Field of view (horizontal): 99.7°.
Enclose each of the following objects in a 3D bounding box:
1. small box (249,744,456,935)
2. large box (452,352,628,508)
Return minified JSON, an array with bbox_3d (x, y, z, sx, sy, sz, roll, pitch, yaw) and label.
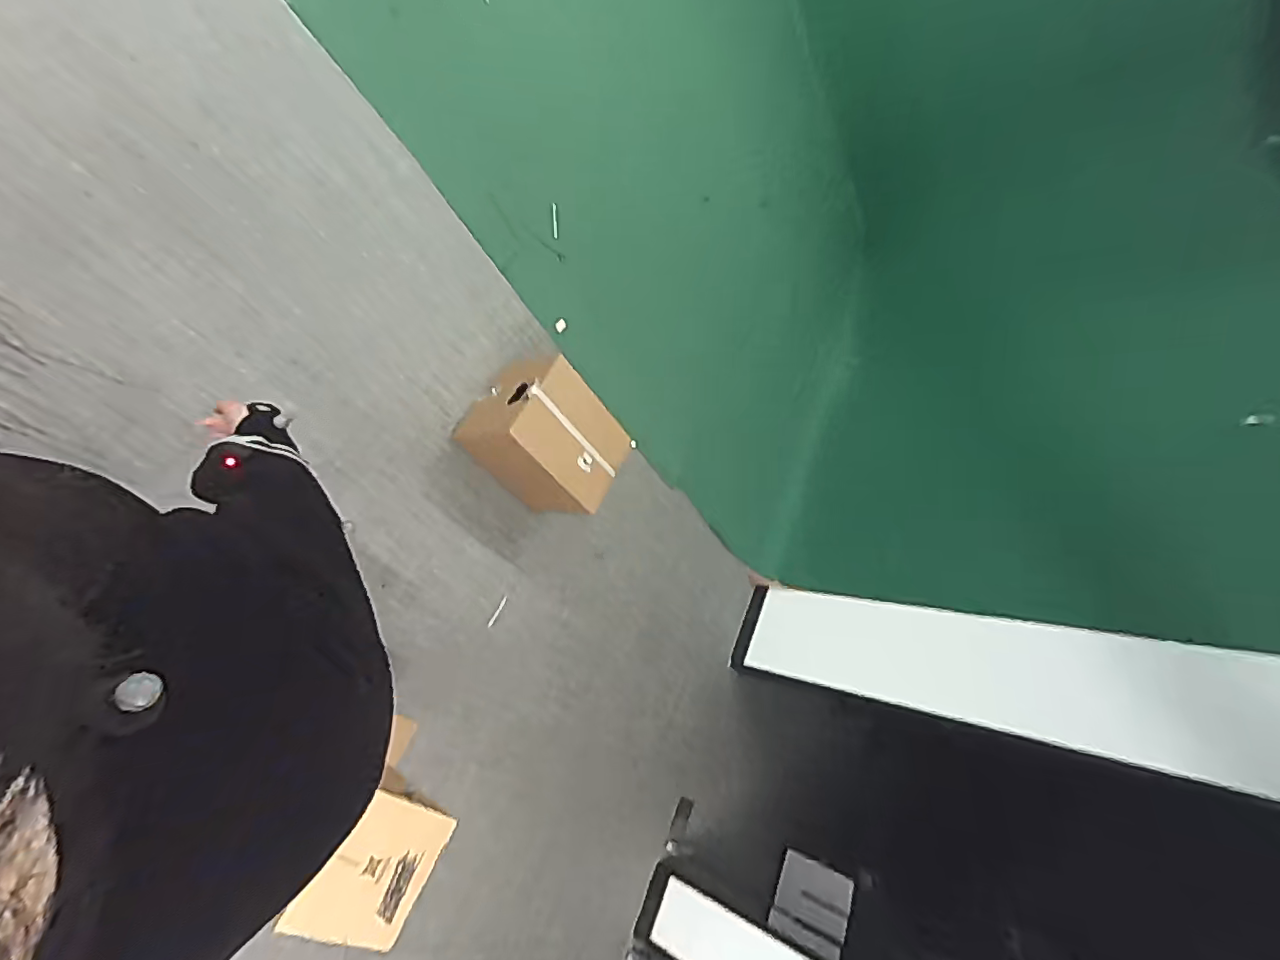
[{"bbox_3d":[-0.414,0.510,0.784,0.179,0.176,0.168,50,55,-34],"label":"small box"},{"bbox_3d":[-0.312,-0.149,1.750,0.408,0.320,0.320,50,55,-38],"label":"large box"}]
